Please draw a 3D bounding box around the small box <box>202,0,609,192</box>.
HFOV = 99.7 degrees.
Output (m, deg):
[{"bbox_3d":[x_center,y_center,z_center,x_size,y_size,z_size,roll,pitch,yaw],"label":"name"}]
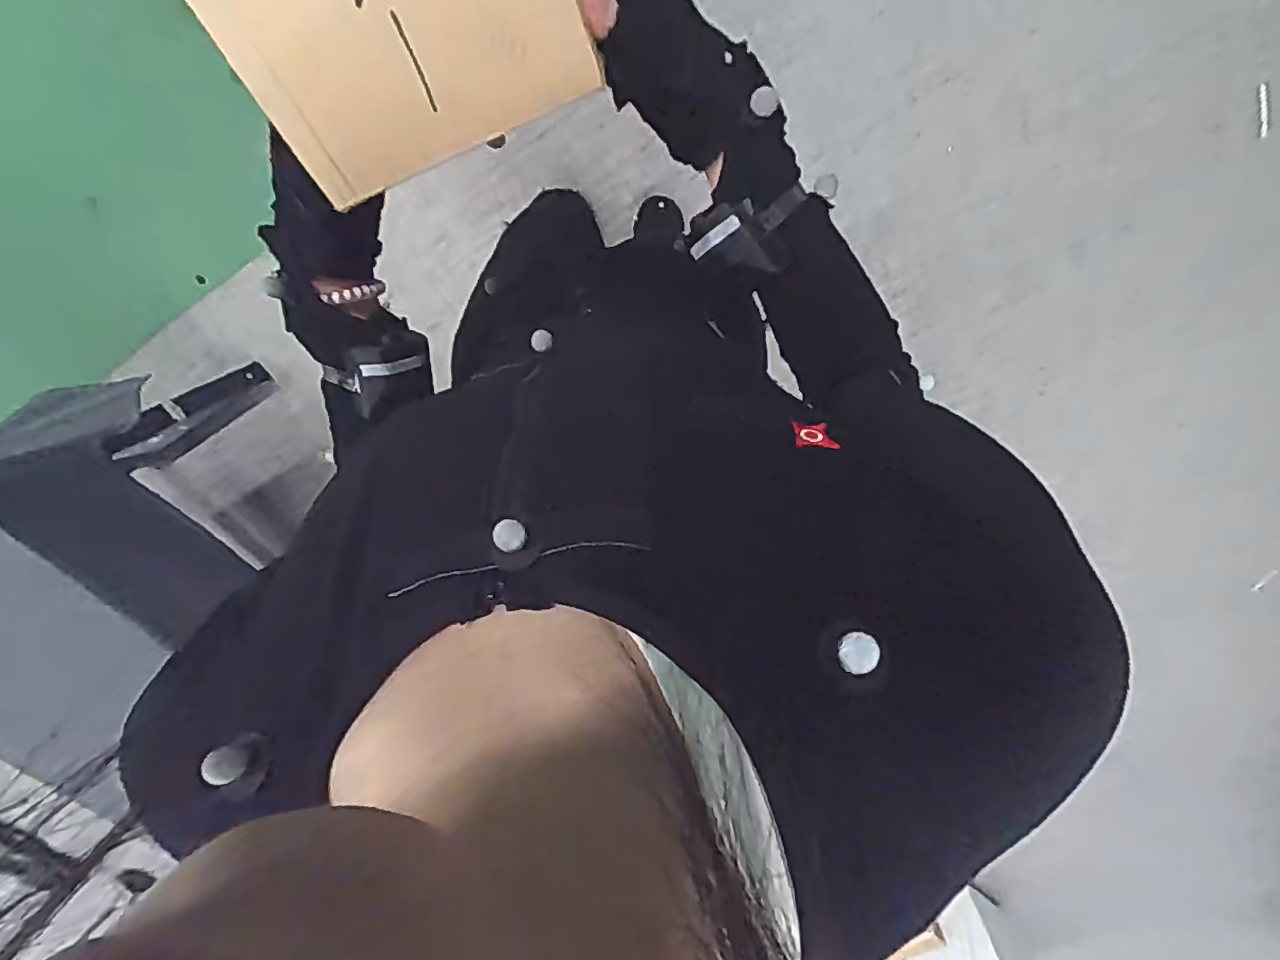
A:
[{"bbox_3d":[-0.125,-0.292,0.289,0.168,0.176,0.179,-17,131,11],"label":"small box"}]
